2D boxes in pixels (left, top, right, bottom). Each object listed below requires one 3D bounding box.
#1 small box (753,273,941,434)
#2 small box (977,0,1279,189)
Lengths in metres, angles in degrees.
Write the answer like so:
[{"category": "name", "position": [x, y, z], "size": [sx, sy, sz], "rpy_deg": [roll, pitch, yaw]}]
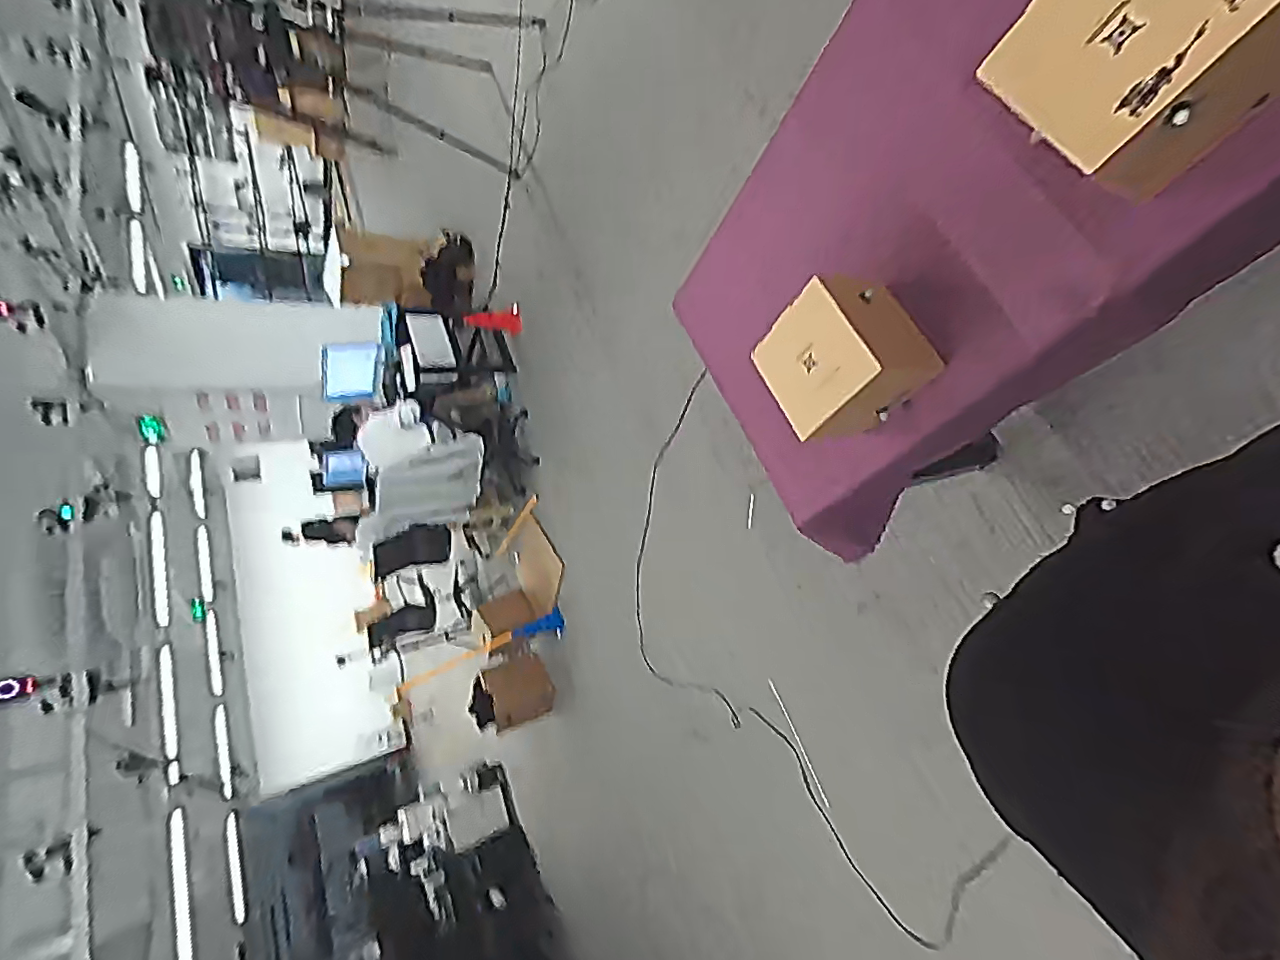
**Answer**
[{"category": "small box", "position": [0.316, -0.191, 0.839], "size": [0.168, 0.176, 0.179], "rpy_deg": [-51, 57, 49]}, {"category": "small box", "position": [0.488, -0.414, 0.527], "size": [0.168, 0.176, 0.179], "rpy_deg": [-53, 54, 49]}]
